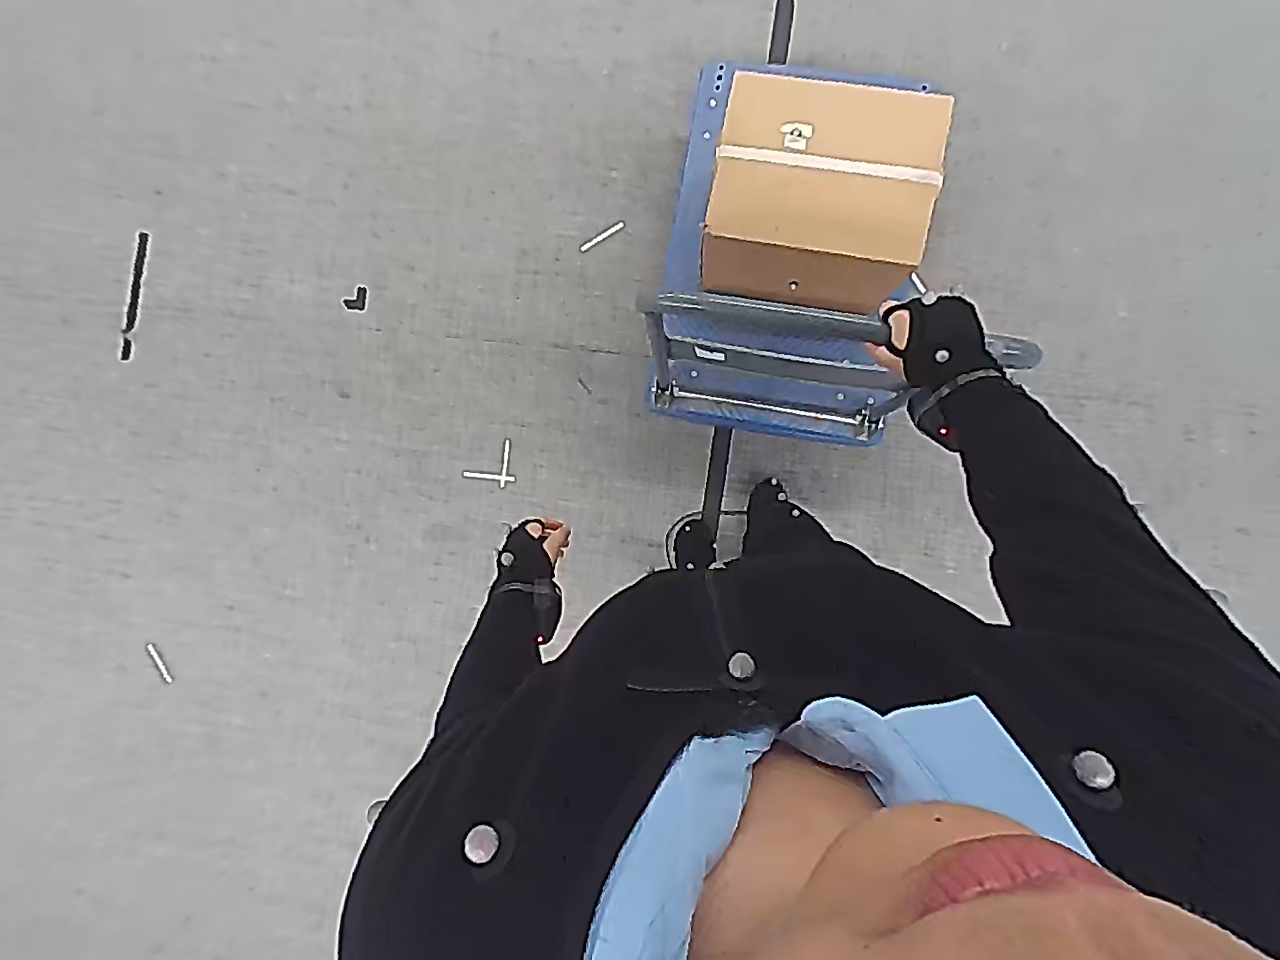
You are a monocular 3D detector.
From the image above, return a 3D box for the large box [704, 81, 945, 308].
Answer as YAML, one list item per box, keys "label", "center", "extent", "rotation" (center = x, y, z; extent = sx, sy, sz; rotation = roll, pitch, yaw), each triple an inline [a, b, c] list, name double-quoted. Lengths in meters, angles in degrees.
- label: "large box"
  center: [0.364, -0.588, 1.167]
  extent: [0.408, 0.320, 0.320]
  rotation: [11, 90, 7]
